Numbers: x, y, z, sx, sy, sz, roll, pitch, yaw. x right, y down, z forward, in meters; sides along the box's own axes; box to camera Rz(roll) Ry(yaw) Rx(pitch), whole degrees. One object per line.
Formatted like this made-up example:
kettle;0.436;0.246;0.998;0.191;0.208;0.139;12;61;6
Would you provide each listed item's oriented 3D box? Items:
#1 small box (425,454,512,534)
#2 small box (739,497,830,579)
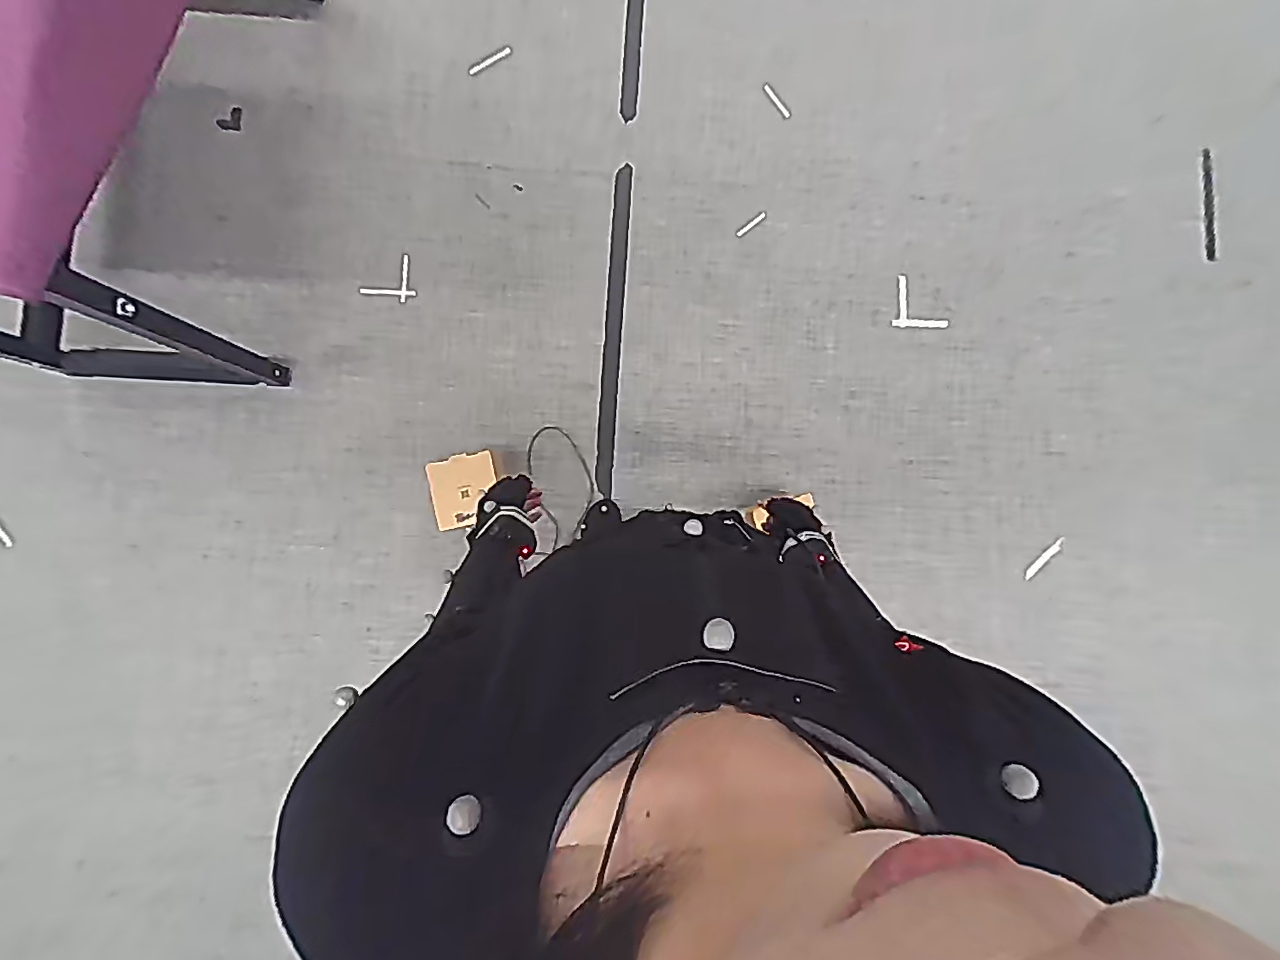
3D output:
small box;-0.443;0.042;1.419;0.168;0.176;0.179;-13;86;-5
small box;0.383;0.153;1.465;0.168;0.176;0.179;-17;88;-3
